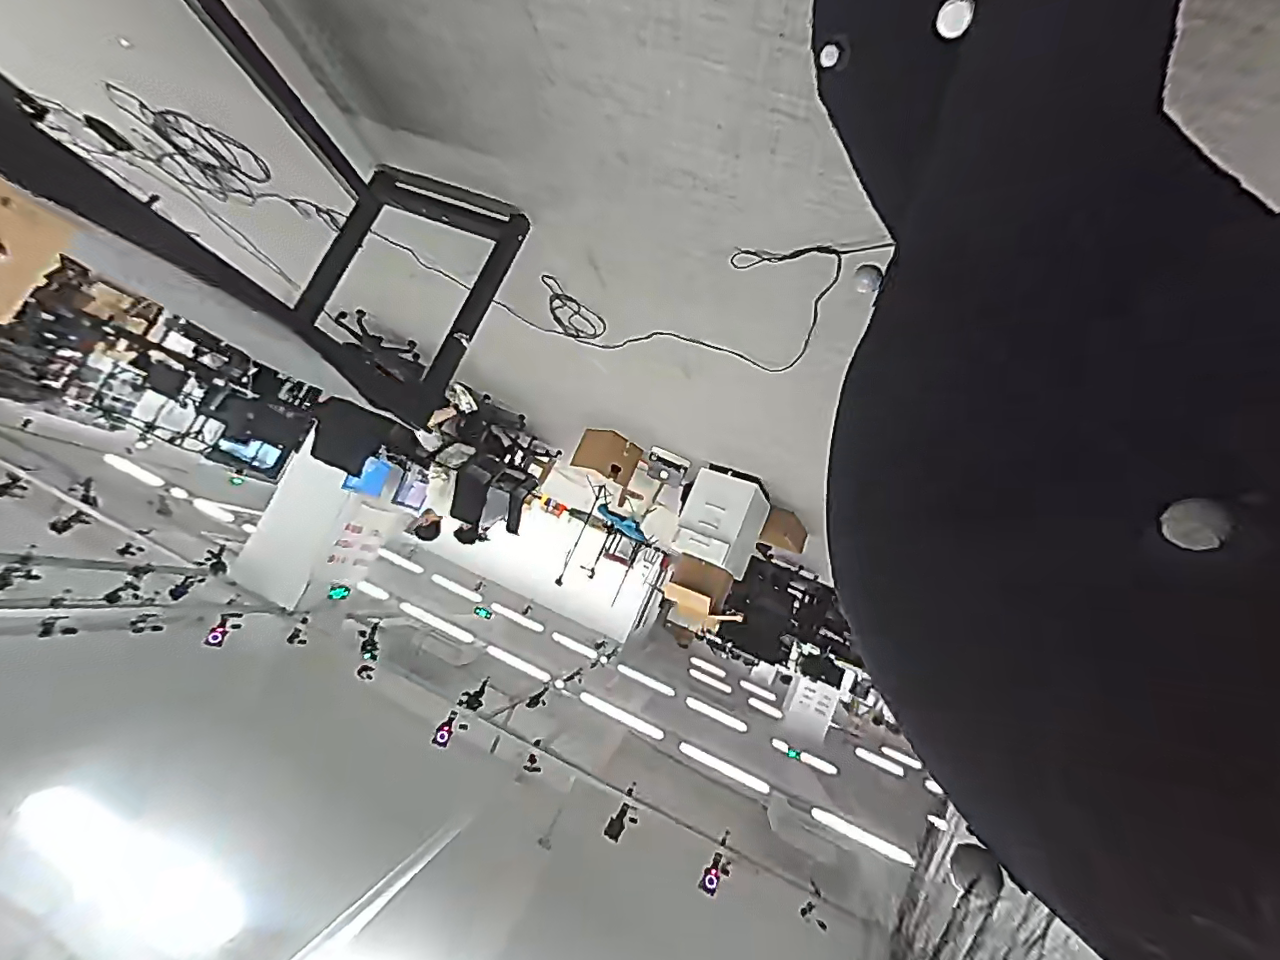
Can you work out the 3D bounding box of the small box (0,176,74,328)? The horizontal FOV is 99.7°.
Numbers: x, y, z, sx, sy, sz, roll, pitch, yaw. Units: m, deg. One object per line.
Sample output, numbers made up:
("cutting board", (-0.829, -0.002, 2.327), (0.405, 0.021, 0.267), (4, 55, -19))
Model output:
("small box", (-0.903, -0.334, 0.694), (0.179, 0.176, 0.168), (29, 170, -9))
